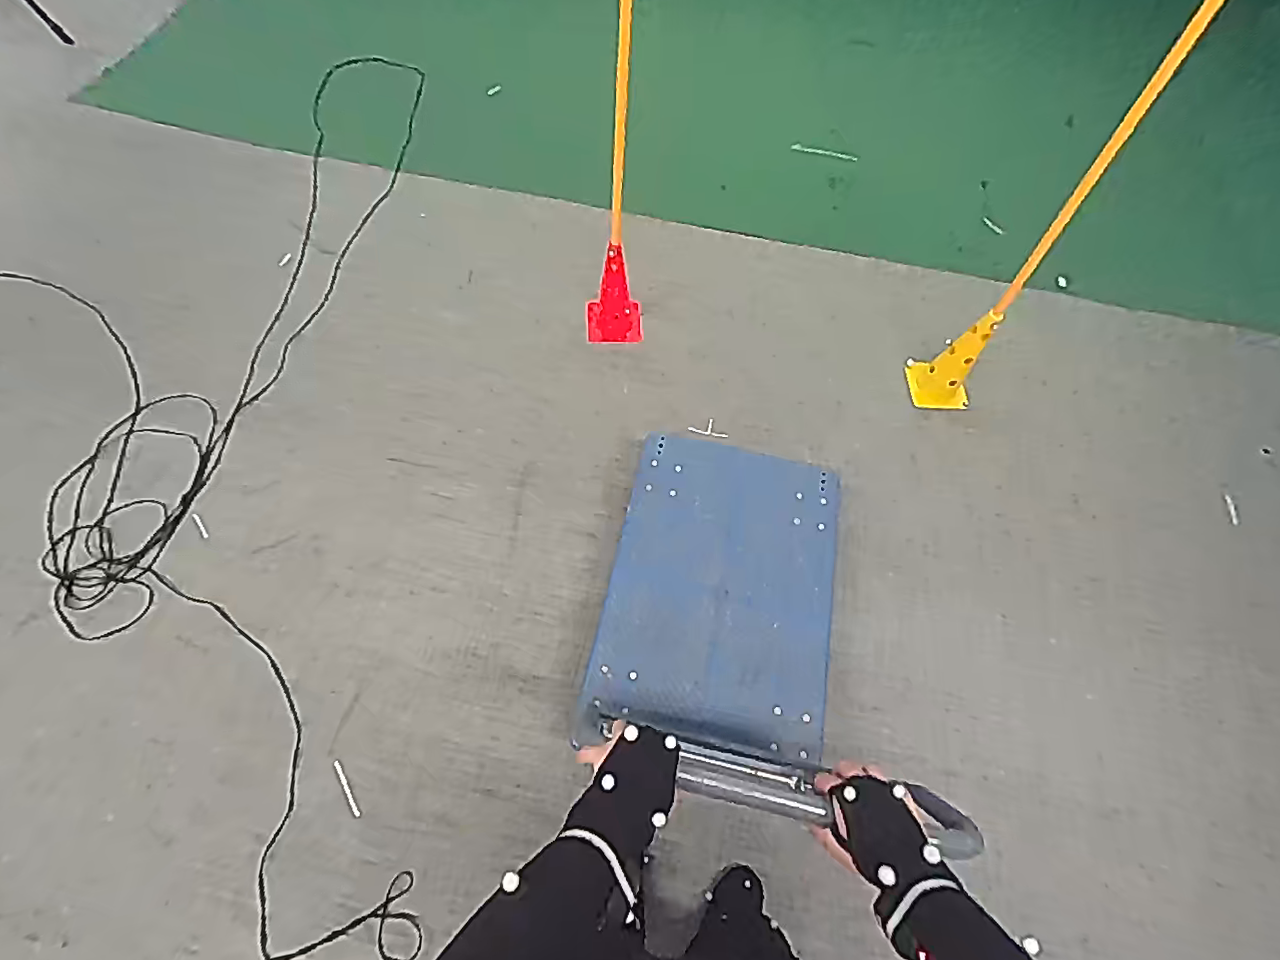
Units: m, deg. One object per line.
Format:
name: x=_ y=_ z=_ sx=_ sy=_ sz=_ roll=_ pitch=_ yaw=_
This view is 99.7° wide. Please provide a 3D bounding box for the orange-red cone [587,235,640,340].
orange-red cone: x=-0.094 y=-0.672 z=1.843 sx=0.199 sy=0.360 sz=0.198 roll=-2 pitch=63 yaw=-2
